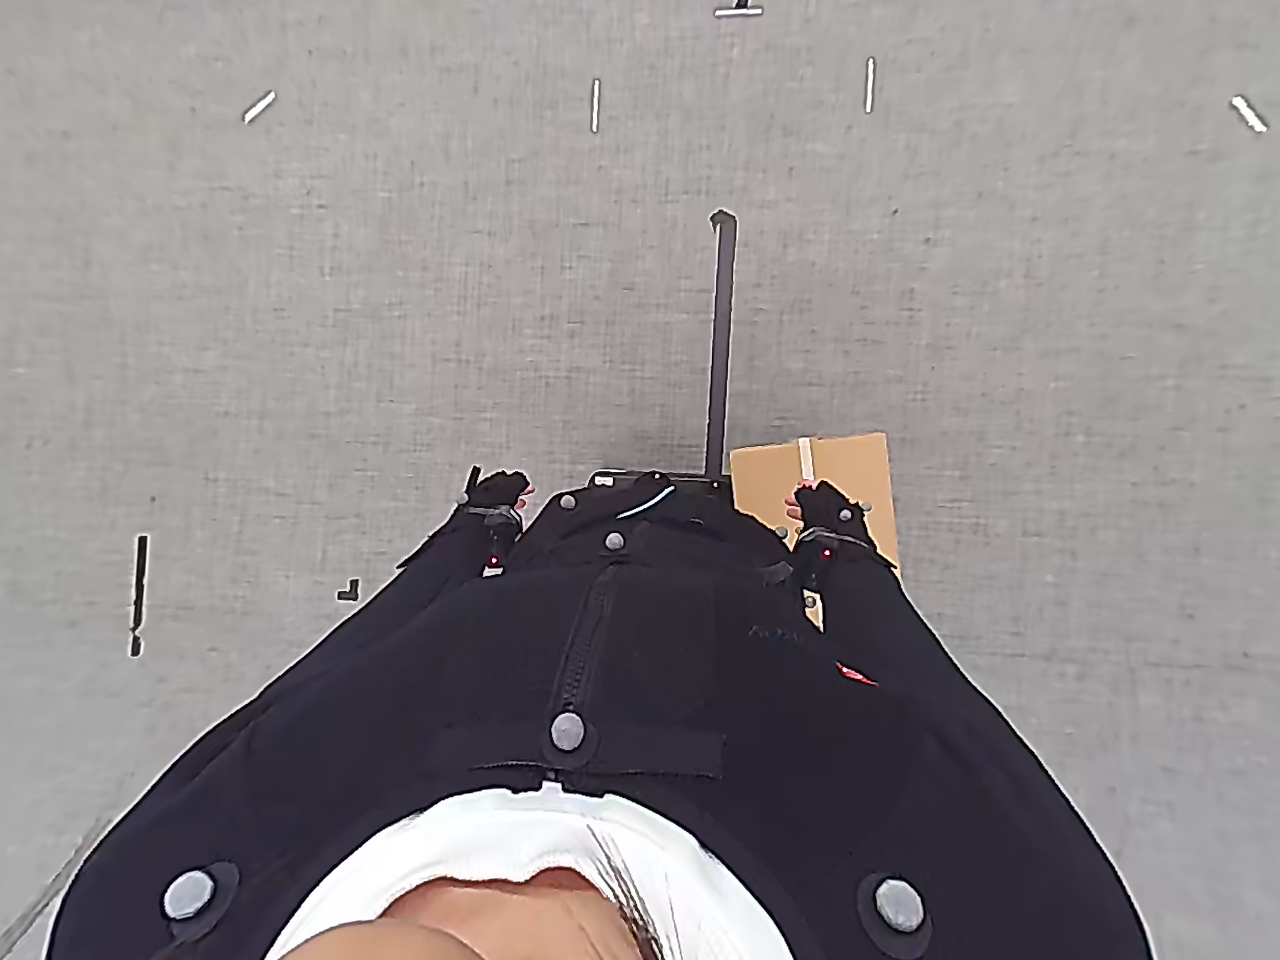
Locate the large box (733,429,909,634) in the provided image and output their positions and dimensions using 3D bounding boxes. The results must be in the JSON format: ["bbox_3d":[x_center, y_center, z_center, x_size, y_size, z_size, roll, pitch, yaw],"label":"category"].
[{"bbox_3d":[0.397,0.106,1.259,0.320,0.320,0.408,-6,91,12],"label":"large box"}]
